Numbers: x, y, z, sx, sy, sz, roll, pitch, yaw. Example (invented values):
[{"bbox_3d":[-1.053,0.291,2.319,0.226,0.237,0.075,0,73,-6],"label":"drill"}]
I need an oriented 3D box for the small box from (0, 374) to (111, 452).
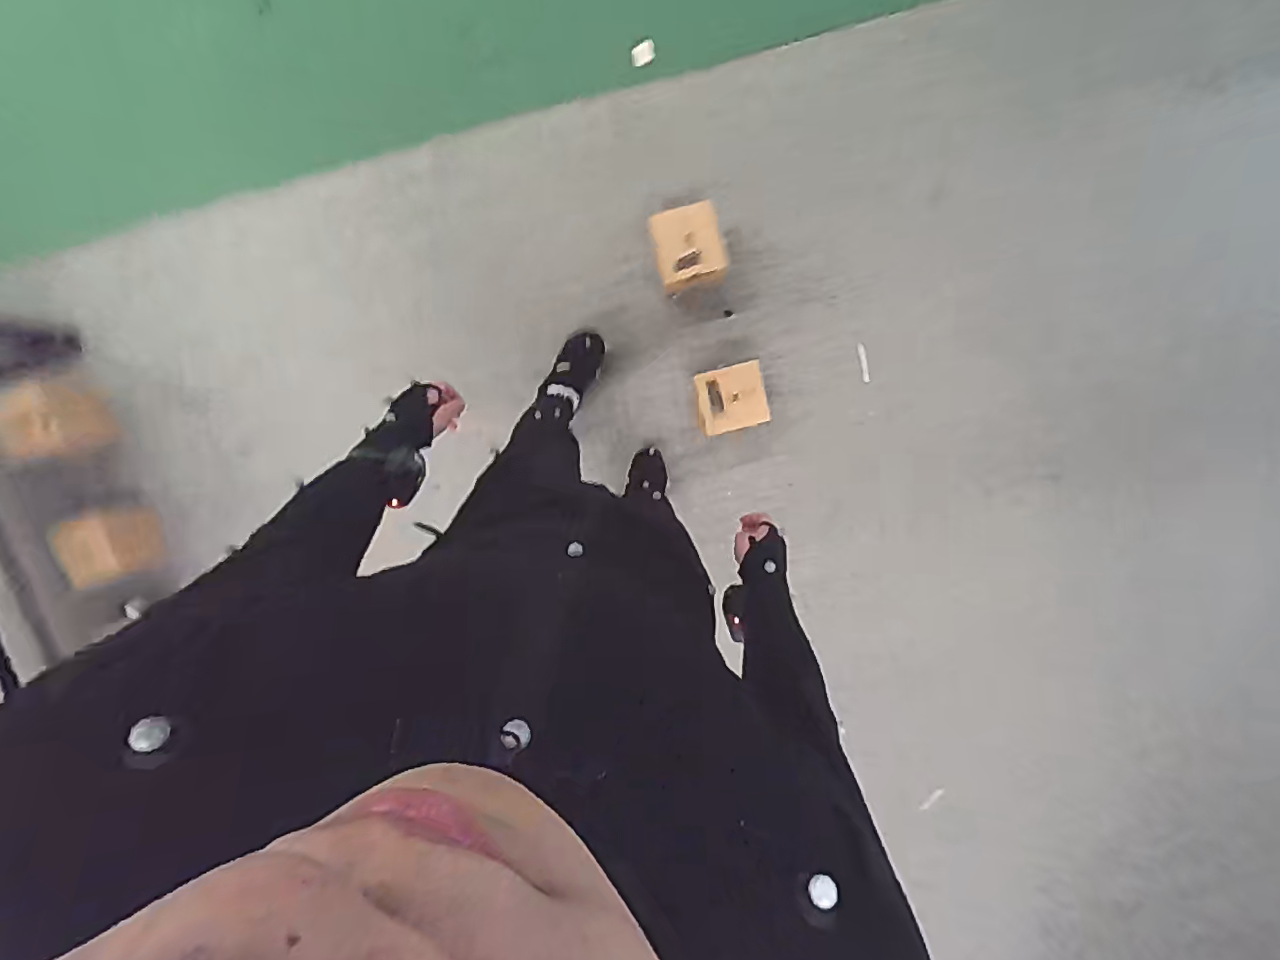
[{"bbox_3d":[-1.675,-0.188,1.526,0.179,0.176,0.168,-20,97,4],"label":"small box"}]

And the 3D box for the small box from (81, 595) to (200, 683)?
[{"bbox_3d":[-1.477,0.468,1.618,0.179,0.176,0.168,-22,97,4],"label":"small box"}]

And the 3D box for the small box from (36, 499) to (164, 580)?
[{"bbox_3d":[-1.562,0.165,1.576,0.168,0.176,0.179,-20,98,5],"label":"small box"}]

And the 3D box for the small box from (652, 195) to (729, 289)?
[{"bbox_3d":[0.130,-0.616,1.427,0.168,0.176,0.179,-13,97,2],"label":"small box"}]
